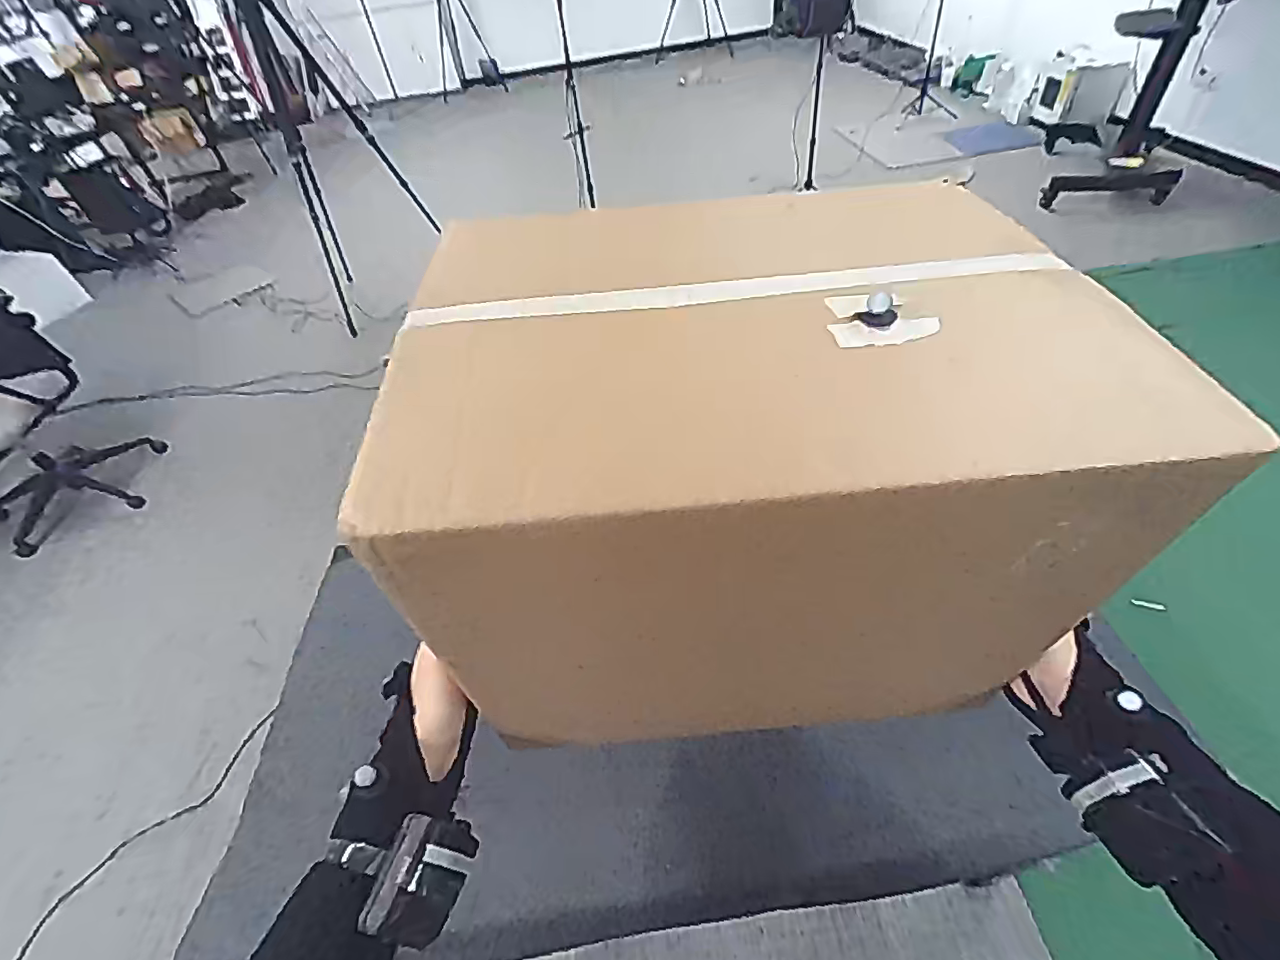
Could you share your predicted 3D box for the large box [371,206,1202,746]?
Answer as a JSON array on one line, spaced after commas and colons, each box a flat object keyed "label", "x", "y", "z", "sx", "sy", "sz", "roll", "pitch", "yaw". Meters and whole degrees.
[{"label": "large box", "x": 0.064, "y": 0.001, "z": 0.459, "sx": 0.408, "sy": 0.320, "sz": 0.320, "roll": -5, "pitch": 49, "yaw": -1}]
